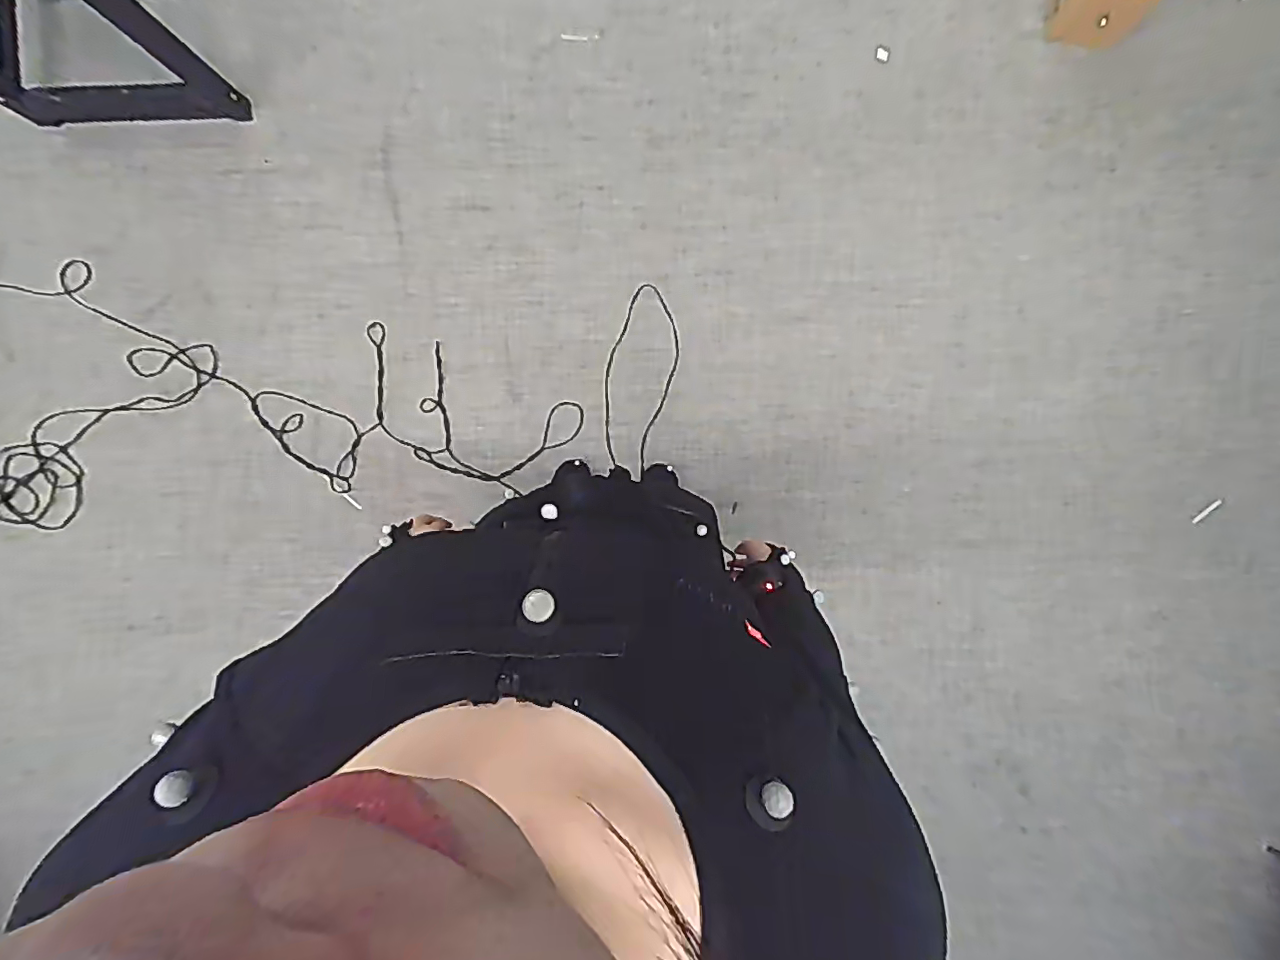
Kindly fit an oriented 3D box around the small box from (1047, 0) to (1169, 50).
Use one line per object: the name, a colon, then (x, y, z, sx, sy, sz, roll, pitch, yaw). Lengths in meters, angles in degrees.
small box: (1.174, -1.222, 1.346, 0.179, 0.176, 0.168, 9, 93, 0)
